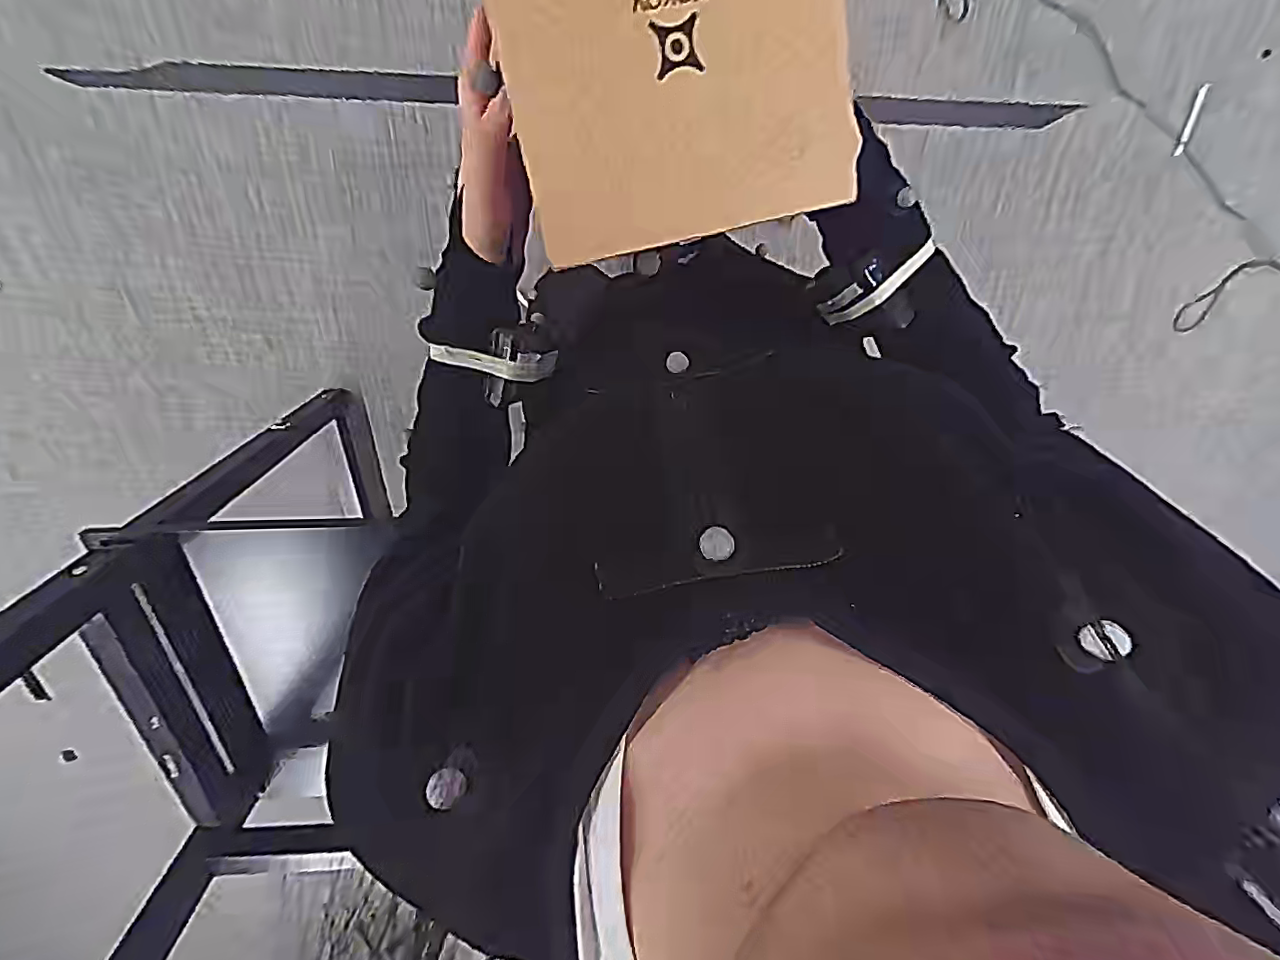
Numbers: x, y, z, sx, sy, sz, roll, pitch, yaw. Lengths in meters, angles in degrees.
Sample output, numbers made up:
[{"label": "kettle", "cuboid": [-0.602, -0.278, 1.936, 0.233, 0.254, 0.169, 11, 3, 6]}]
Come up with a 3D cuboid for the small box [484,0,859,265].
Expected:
[{"label": "small box", "cuboid": [0.008, -0.235, 0.318, 0.168, 0.176, 0.179, -14, 111, -2]}]
